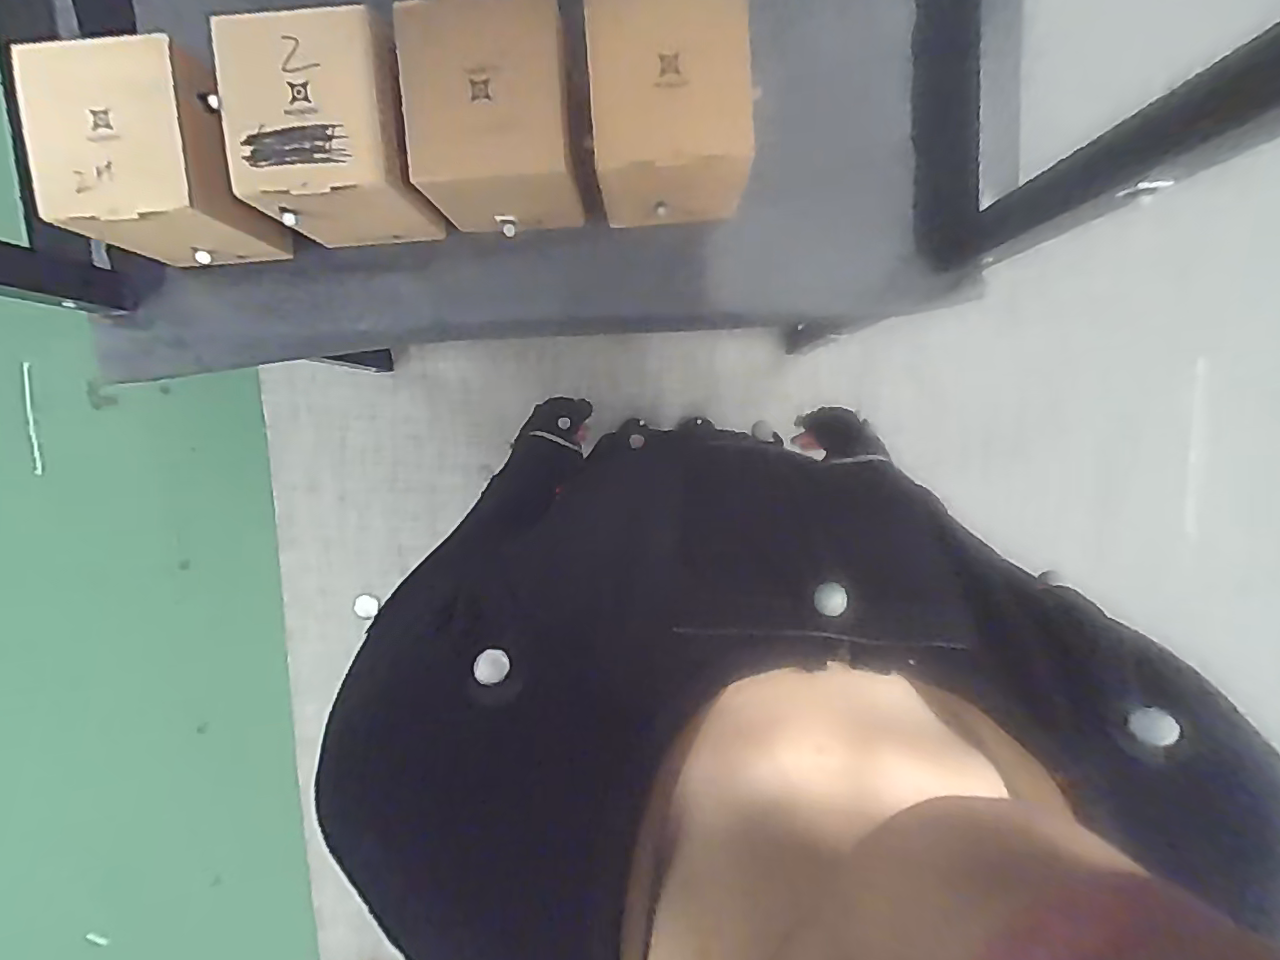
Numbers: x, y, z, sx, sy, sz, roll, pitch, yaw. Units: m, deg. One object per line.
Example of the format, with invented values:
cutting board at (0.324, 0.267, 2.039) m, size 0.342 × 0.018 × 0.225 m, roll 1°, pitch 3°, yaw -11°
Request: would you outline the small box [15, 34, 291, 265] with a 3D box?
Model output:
small box at (-0.550, -0.371, 0.637) m, size 0.168 × 0.176 × 0.179 m, roll -4°, pitch 96°, yaw 1°
